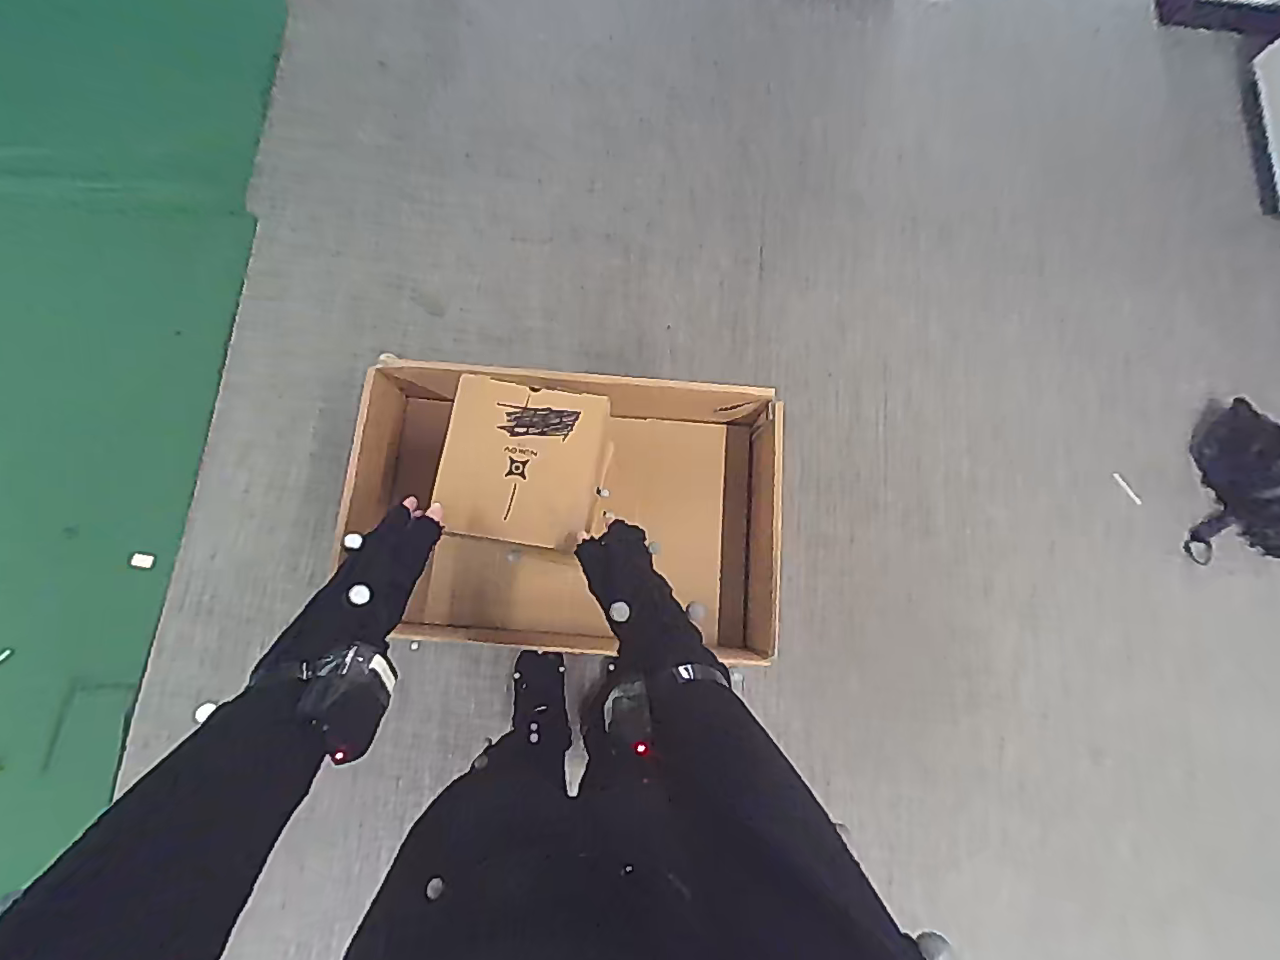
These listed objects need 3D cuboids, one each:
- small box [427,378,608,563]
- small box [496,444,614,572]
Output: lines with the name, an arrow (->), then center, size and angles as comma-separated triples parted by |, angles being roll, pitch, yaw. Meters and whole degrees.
small box -> -0.135, 0.000, 0.660 | 0.168, 0.176, 0.179 | 9, 78, -1
small box -> -0.138, 0.035, 0.820 | 0.168, 0.176, 0.179 | 12, 77, 0
